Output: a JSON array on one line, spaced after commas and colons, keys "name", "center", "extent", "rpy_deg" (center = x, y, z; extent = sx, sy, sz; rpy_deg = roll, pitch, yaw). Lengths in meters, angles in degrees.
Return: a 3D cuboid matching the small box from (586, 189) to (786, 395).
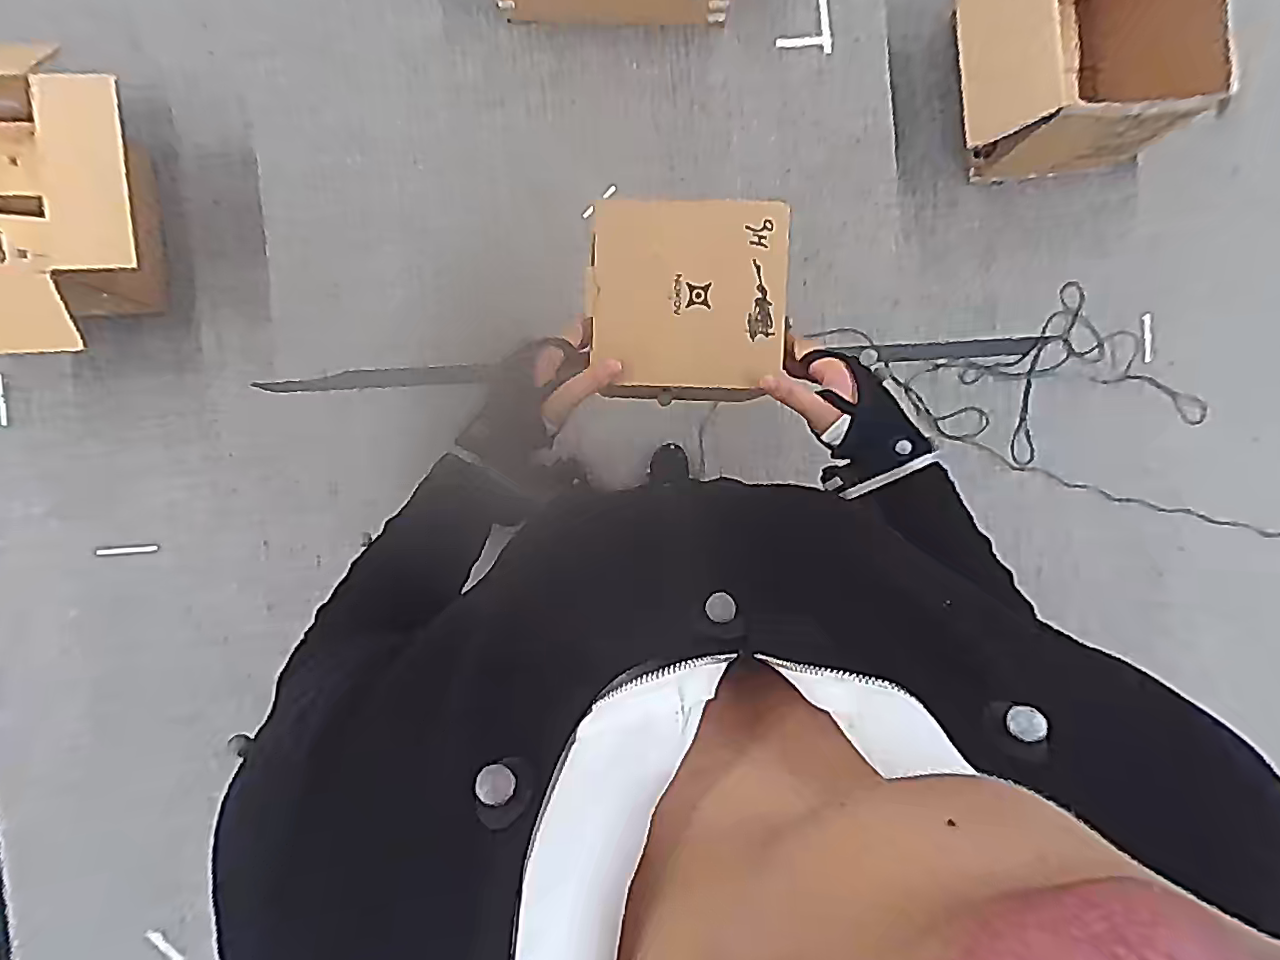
[{"name": "small box", "center": [0.042, -0.180, 0.566], "extent": [0.179, 0.176, 0.168], "rpy_deg": [2, 94, 0]}]
